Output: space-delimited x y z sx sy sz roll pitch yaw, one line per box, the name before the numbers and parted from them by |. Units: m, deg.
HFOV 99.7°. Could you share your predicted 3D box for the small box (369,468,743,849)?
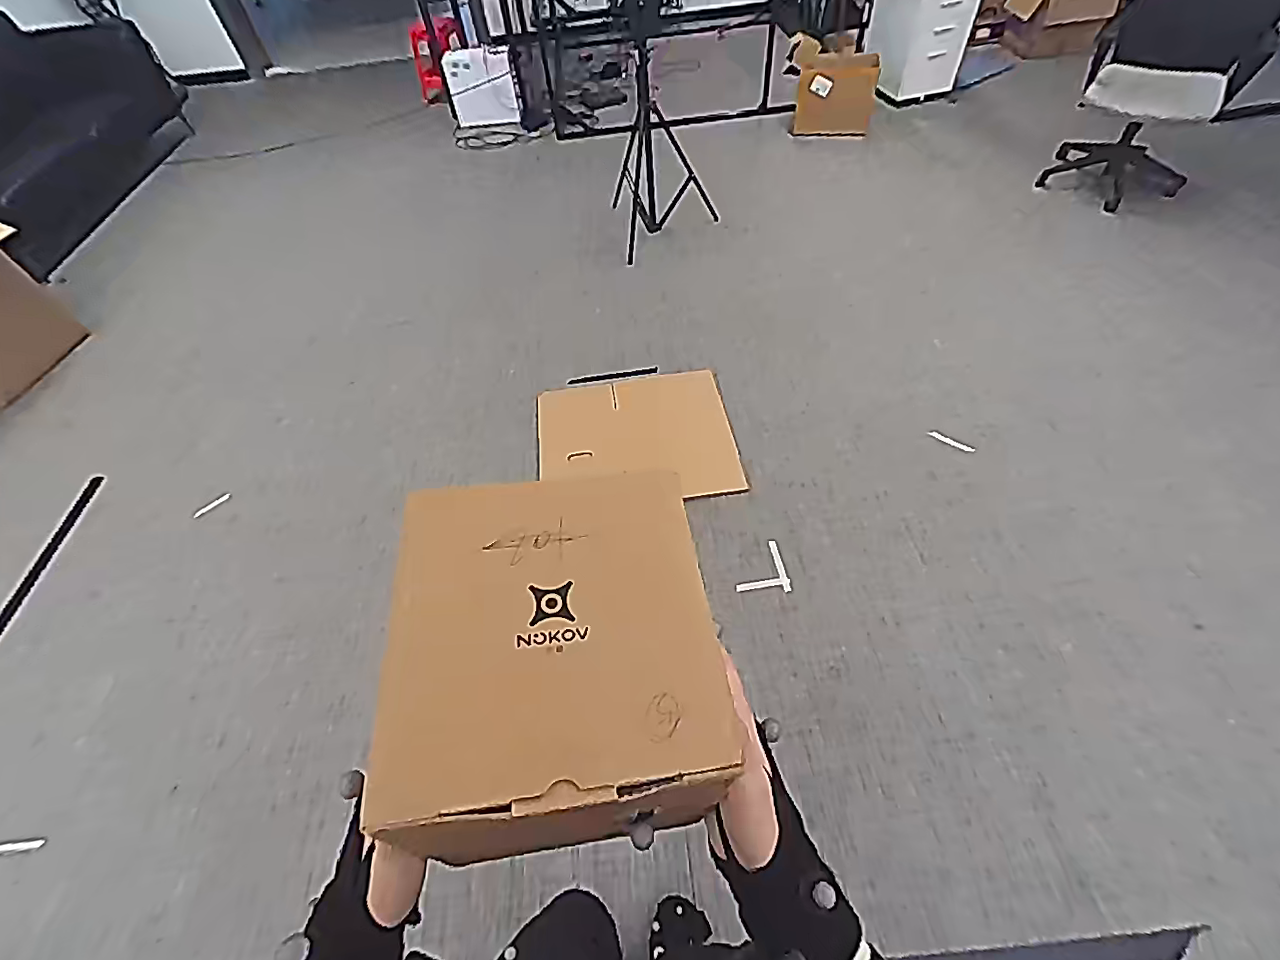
small box | -0.049 0.117 0.344 0.168 0.176 0.179 -5 51 -9
